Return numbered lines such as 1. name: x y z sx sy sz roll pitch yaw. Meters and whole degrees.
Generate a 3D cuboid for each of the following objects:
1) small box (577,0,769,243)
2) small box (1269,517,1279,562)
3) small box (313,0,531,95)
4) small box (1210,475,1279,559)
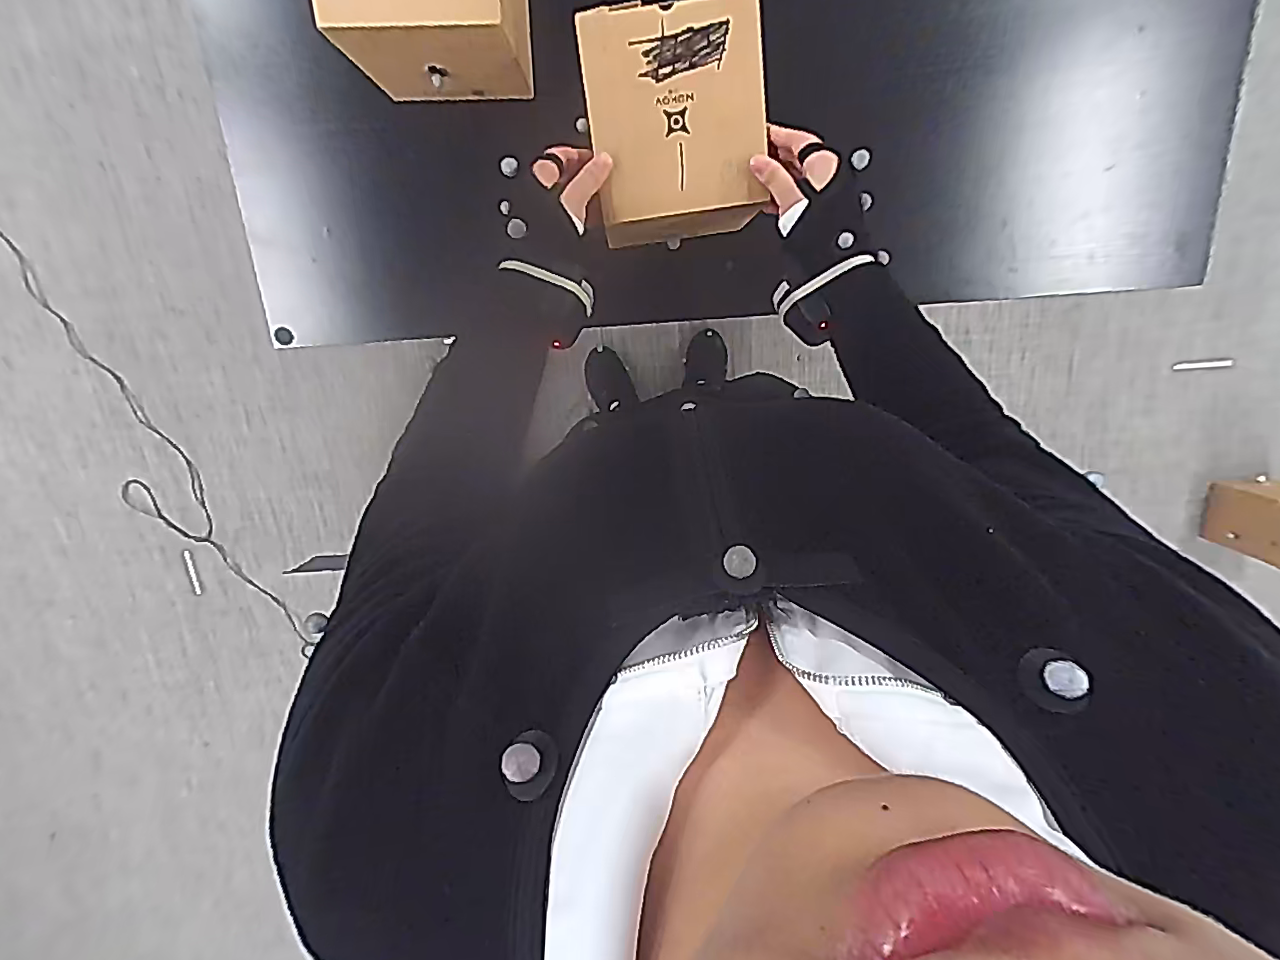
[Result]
1. small box: 0.032 -0.367 0.576 0.168 0.176 0.179 -8 106 2
2. small box: 1.717 0.143 1.307 0.179 0.176 0.168 -7 106 1
3. small box: -0.208 -0.509 0.535 0.168 0.176 0.179 -2 106 0
4. small box: 1.718 0.096 1.464 0.168 0.176 0.179 -5 105 1
